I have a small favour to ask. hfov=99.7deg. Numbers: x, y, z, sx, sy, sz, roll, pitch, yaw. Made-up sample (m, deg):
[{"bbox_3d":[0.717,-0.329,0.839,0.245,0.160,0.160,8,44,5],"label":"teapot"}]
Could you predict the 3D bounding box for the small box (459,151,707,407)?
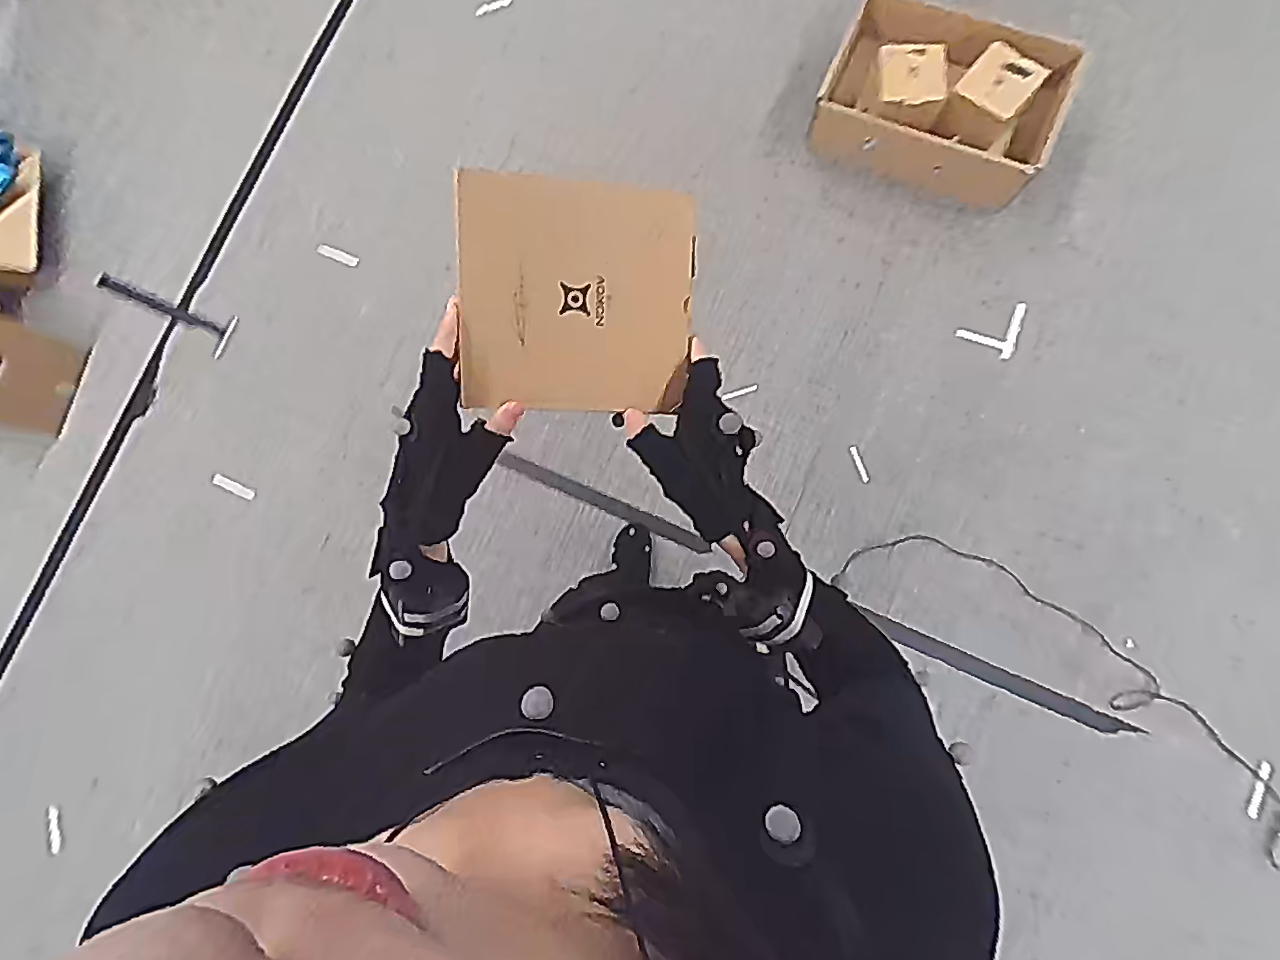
[{"bbox_3d":[-0.055,-0.150,0.465,0.179,0.176,0.168,0,98,-12],"label":"small box"}]
